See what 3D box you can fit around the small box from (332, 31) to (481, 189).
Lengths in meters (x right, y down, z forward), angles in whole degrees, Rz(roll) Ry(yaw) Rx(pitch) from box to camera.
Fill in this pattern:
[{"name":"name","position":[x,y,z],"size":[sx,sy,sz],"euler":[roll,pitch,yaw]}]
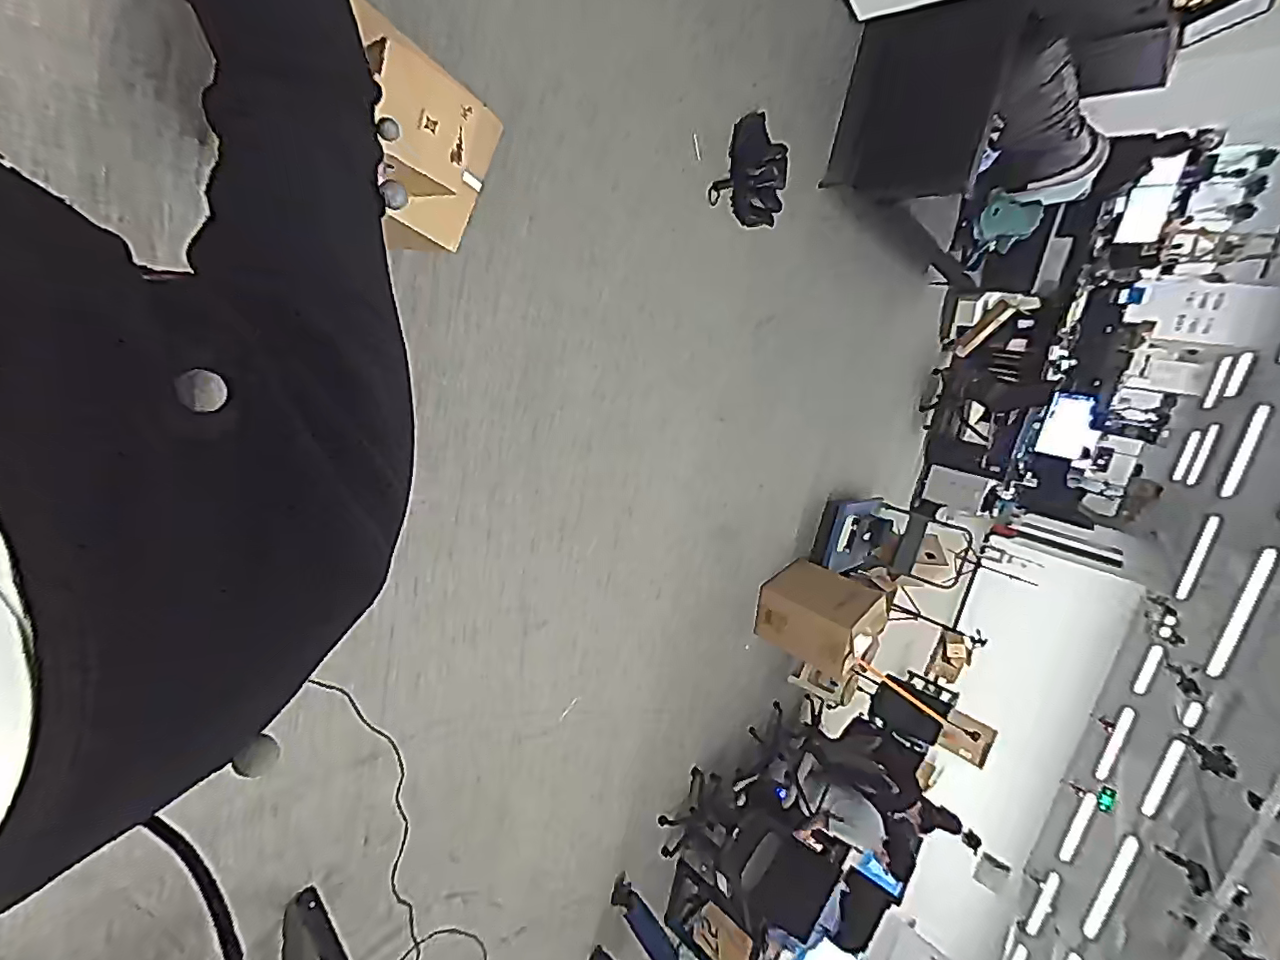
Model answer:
[{"name":"small box","position":[-0.421,-0.640,0.967],"size":[0.179,0.176,0.168],"euler":[9,101,-50]}]
